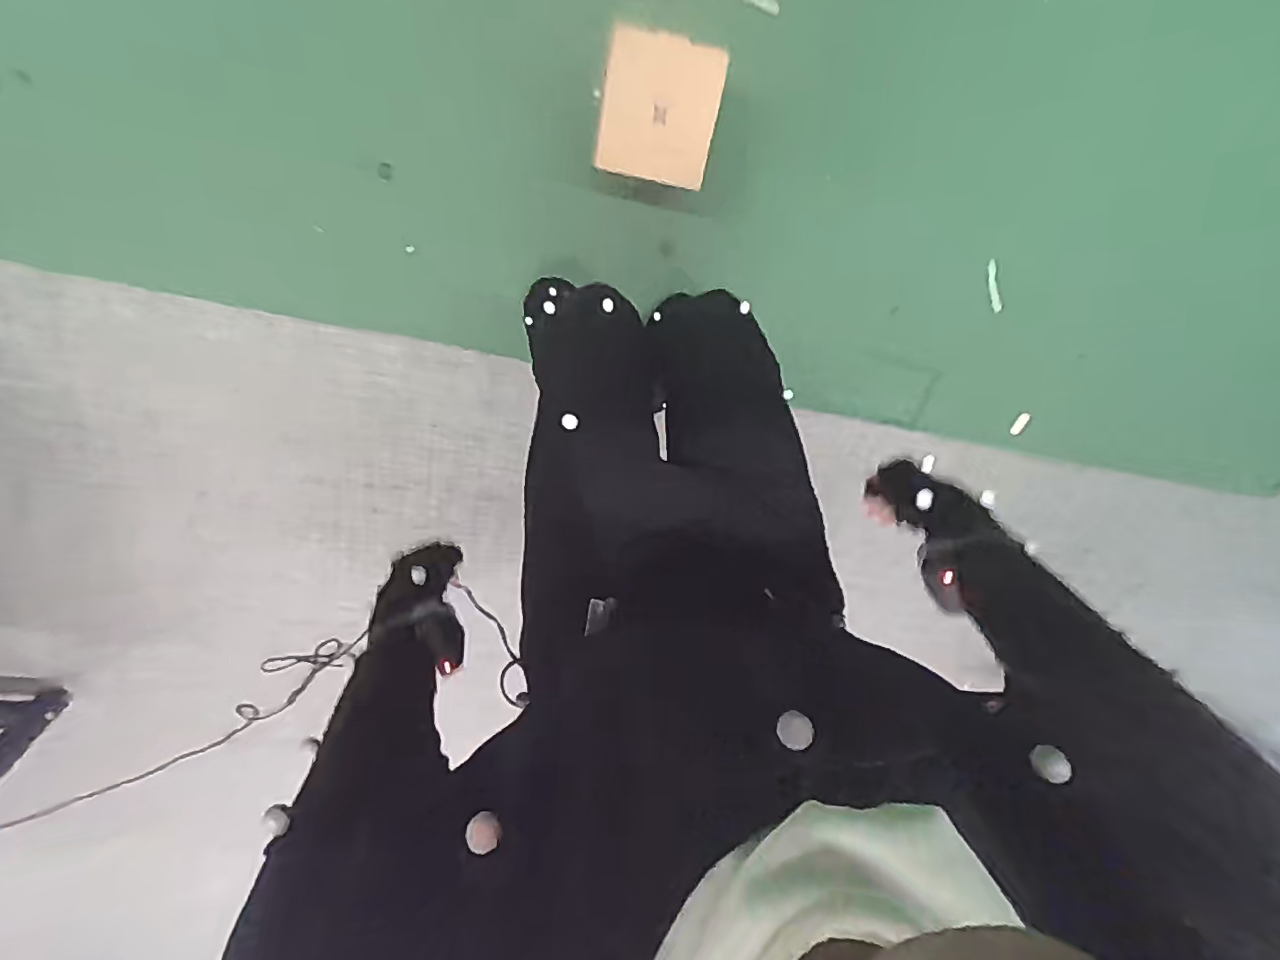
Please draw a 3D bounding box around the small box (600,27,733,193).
[{"bbox_3d":[0.029,-0.572,0.853,0.168,0.176,0.179,7,121,-10],"label":"small box"}]
